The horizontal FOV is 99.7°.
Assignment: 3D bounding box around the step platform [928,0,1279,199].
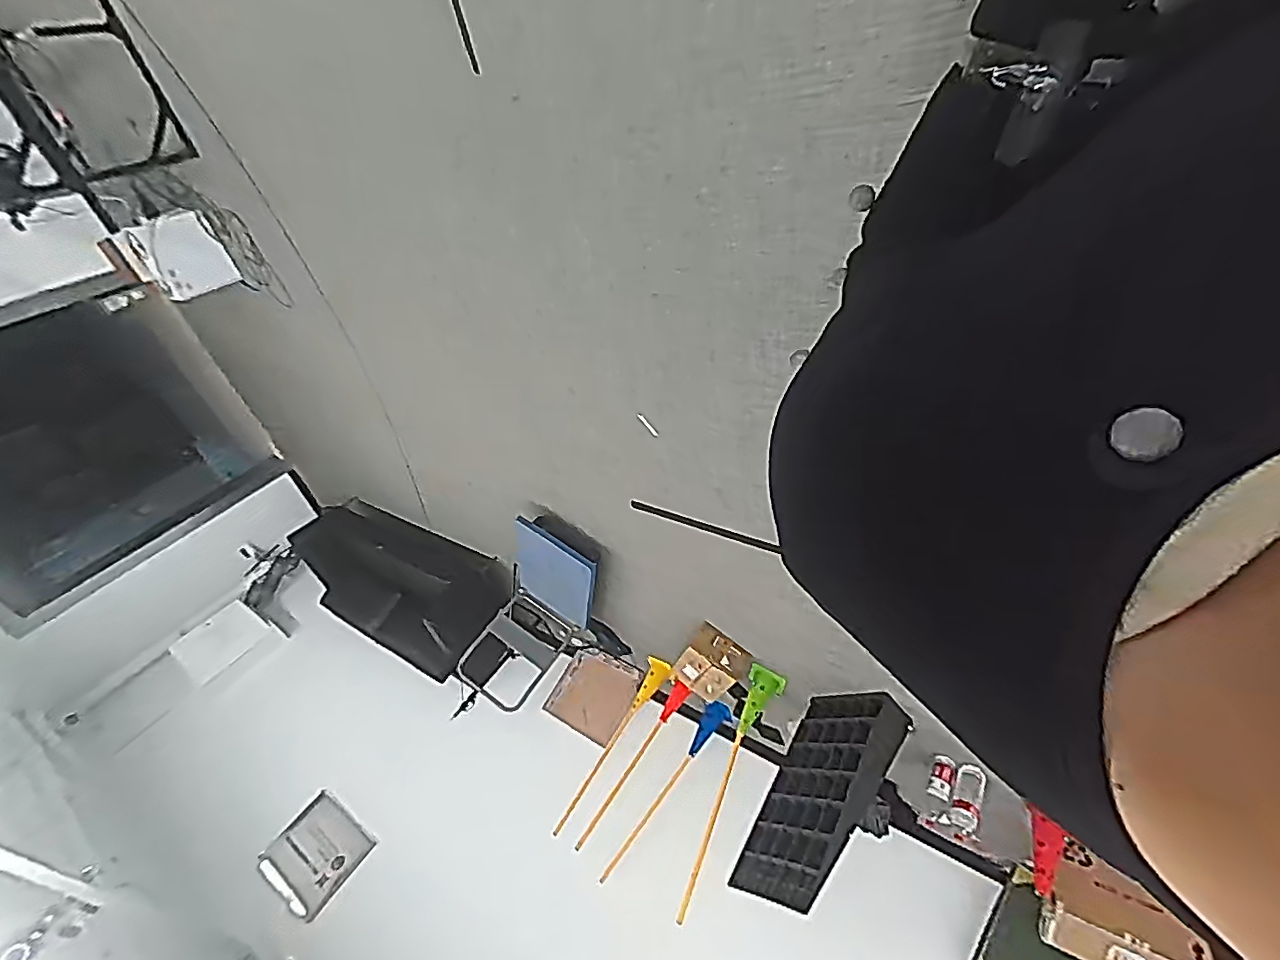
[{"bbox_3d":[0.889,-0.669,0.933,0.684,0.204,0.286,21,139,29],"label":"step platform"}]
